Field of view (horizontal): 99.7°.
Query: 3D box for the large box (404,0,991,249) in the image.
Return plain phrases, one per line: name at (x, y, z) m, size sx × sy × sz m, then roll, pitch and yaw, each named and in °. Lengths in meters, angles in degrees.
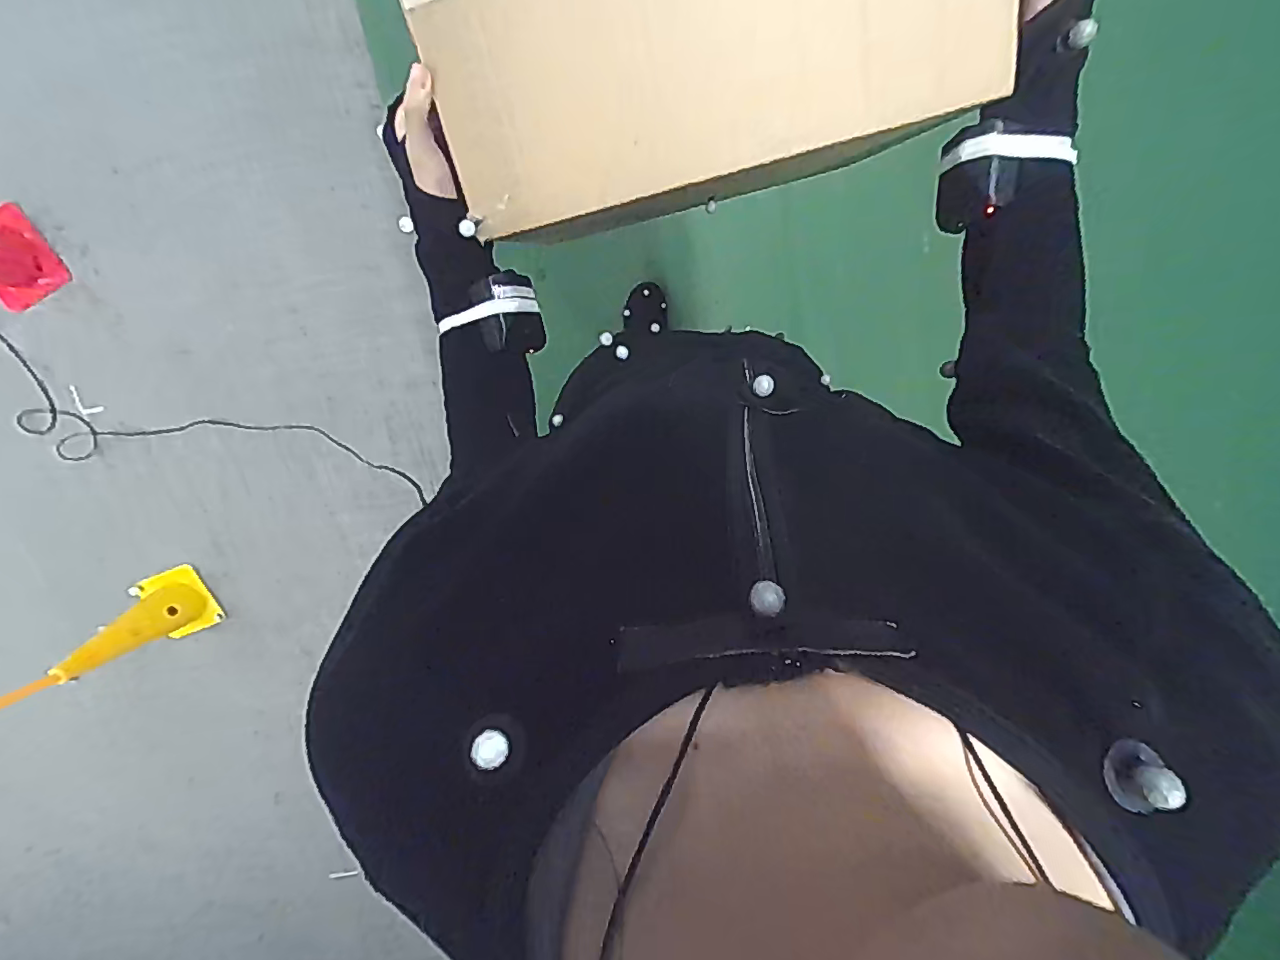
large box at (0.031, -0.432, 0.499) m, size 0.408 × 0.320 × 0.320 m, roll -13°, pitch 112°, yaw 6°
